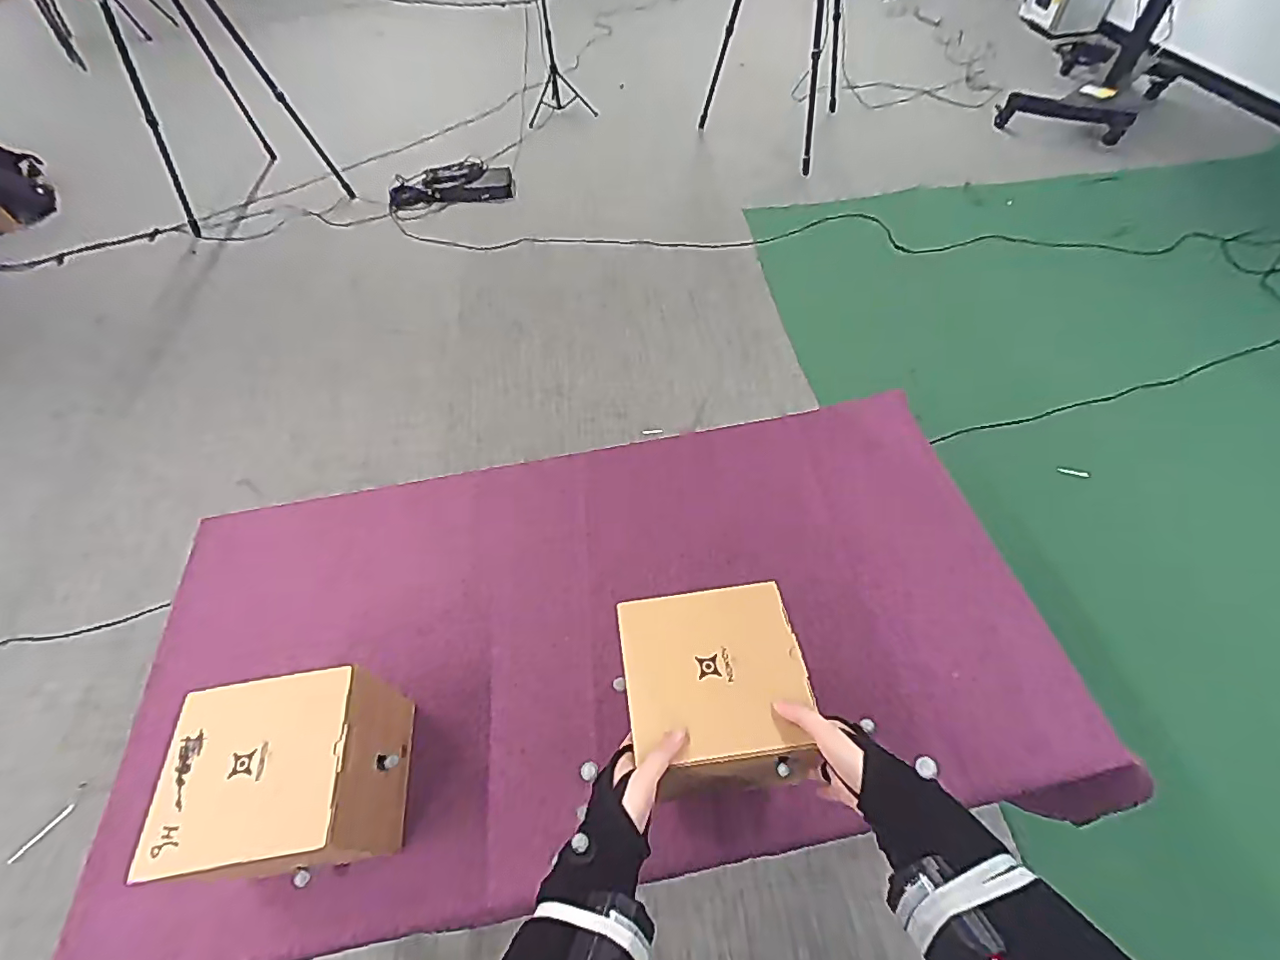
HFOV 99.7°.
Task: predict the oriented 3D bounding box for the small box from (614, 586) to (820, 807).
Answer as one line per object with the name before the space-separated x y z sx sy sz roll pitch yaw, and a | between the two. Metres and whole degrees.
small box | 0.072 0.238 0.587 0.179 0.176 0.168 -7 49 -2

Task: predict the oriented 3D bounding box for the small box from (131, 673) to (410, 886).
small box | -0.372 0.328 0.591 0.179 0.176 0.168 -8 53 -3
